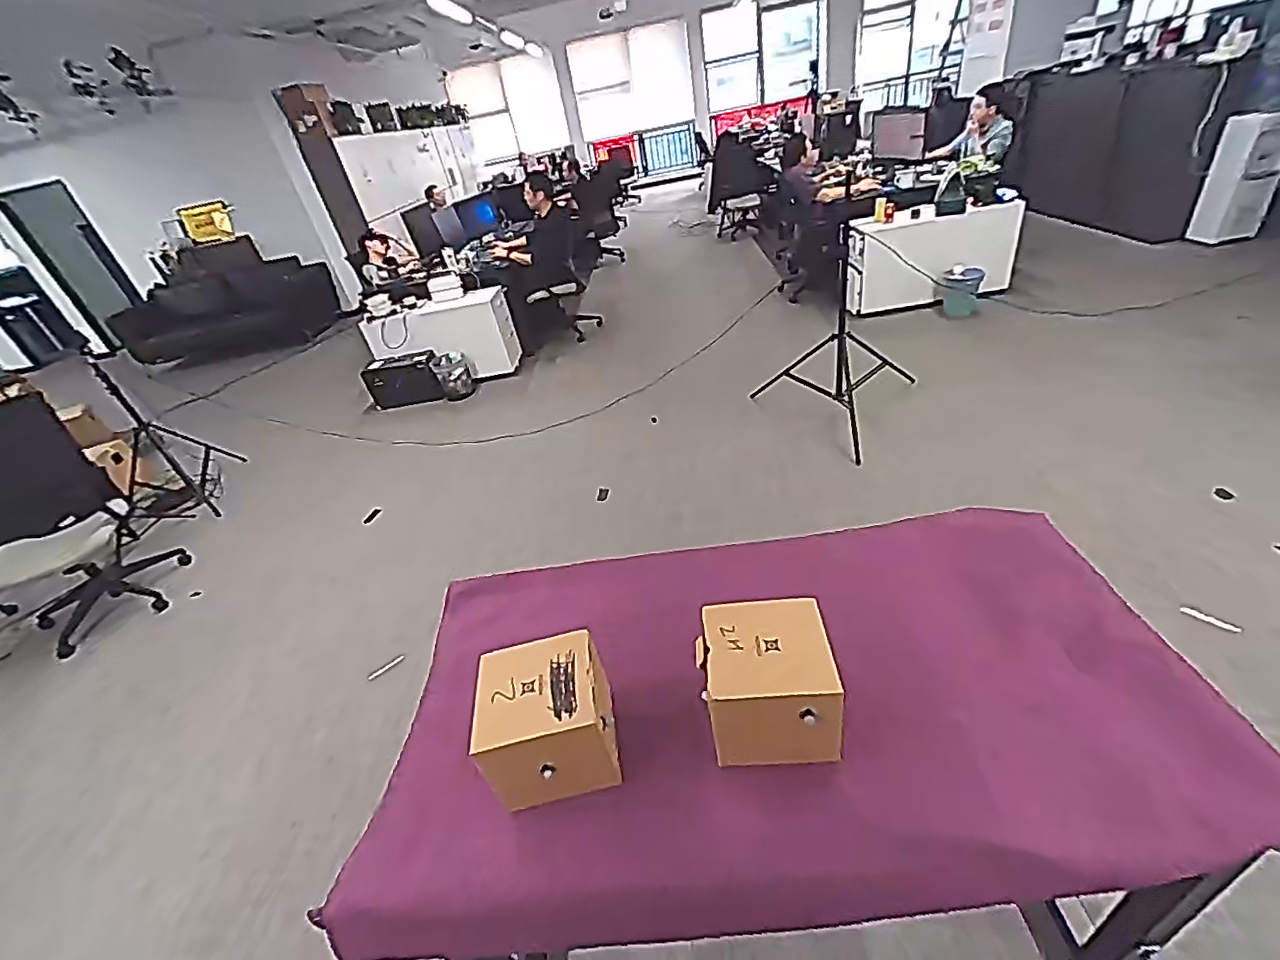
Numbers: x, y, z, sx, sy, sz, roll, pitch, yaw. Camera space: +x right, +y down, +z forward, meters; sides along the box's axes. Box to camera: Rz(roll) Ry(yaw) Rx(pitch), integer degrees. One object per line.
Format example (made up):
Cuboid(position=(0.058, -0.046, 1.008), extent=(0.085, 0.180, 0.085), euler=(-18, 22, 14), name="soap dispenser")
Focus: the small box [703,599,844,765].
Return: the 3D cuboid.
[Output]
Cuboid(position=(0.193, 0.303, 0.811), extent=(0.179, 0.176, 0.168), euler=(-8, 33, 8), name="small box")
